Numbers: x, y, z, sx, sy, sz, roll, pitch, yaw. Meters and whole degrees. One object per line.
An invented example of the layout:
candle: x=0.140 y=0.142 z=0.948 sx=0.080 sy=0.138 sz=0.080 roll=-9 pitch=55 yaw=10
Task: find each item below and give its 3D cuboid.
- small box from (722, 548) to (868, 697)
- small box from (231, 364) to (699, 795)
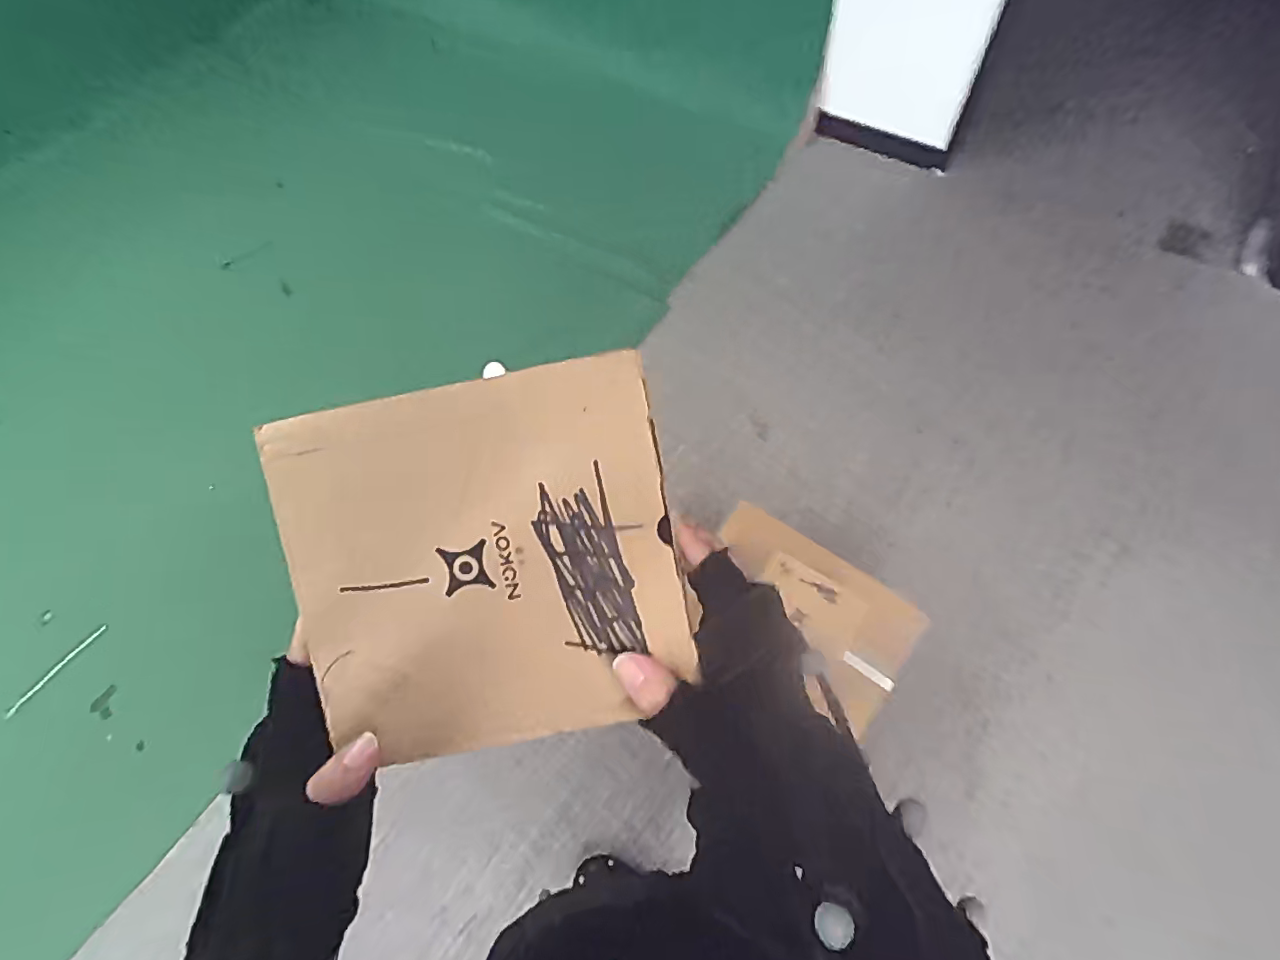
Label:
small box: x=0.258 y=0.249 z=0.922 sx=0.168 sy=0.176 sz=0.179 roll=32 pitch=76 yaw=20
small box: x=-0.078 y=0.039 z=0.322 sx=0.179 sy=0.176 sz=0.168 roll=-15 pitch=94 yaw=0
